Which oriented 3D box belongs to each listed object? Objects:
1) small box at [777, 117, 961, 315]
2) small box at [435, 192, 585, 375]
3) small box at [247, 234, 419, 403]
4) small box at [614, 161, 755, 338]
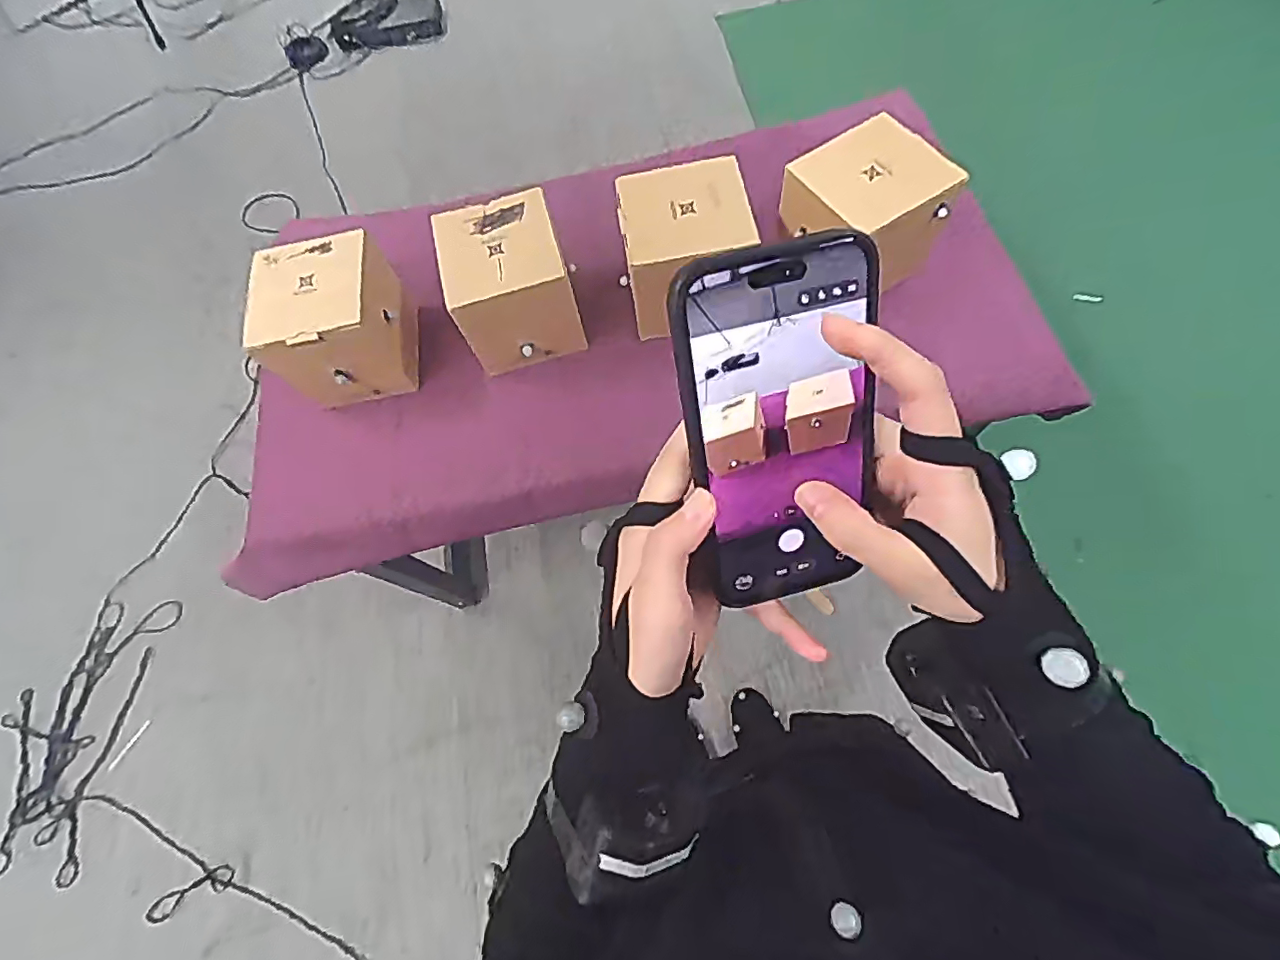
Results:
[{"bbox_3d":[0.319,-0.381,0.802,0.179,0.176,0.168,-31,67,-7],"label":"small box"},{"bbox_3d":[-0.191,-0.290,0.820,0.168,0.176,0.179,-16,68,0],"label":"small box"},{"bbox_3d":[-0.453,-0.233,0.826,0.168,0.176,0.179,-11,68,2],"label":"small box"},{"bbox_3d":[0.065,-0.335,0.812,0.179,0.176,0.168,-9,68,2],"label":"small box"}]
